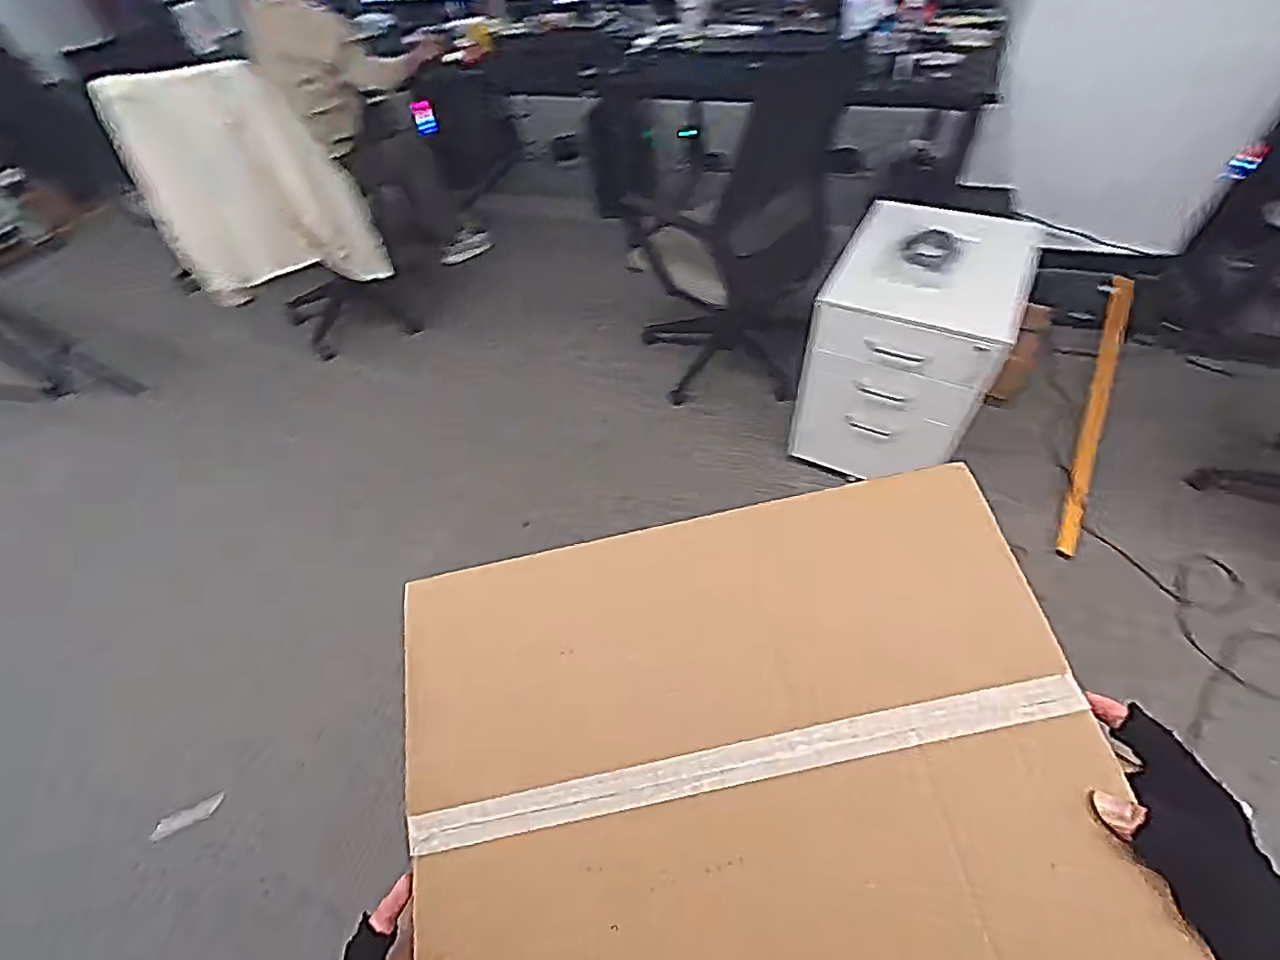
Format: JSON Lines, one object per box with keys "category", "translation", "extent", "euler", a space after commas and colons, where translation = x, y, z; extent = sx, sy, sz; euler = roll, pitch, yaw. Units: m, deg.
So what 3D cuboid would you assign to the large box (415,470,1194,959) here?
{"category": "large box", "translation": [0.075, 0.235, 0.466], "extent": [0.408, 0.320, 0.320], "euler": [-14, 67, 1]}
